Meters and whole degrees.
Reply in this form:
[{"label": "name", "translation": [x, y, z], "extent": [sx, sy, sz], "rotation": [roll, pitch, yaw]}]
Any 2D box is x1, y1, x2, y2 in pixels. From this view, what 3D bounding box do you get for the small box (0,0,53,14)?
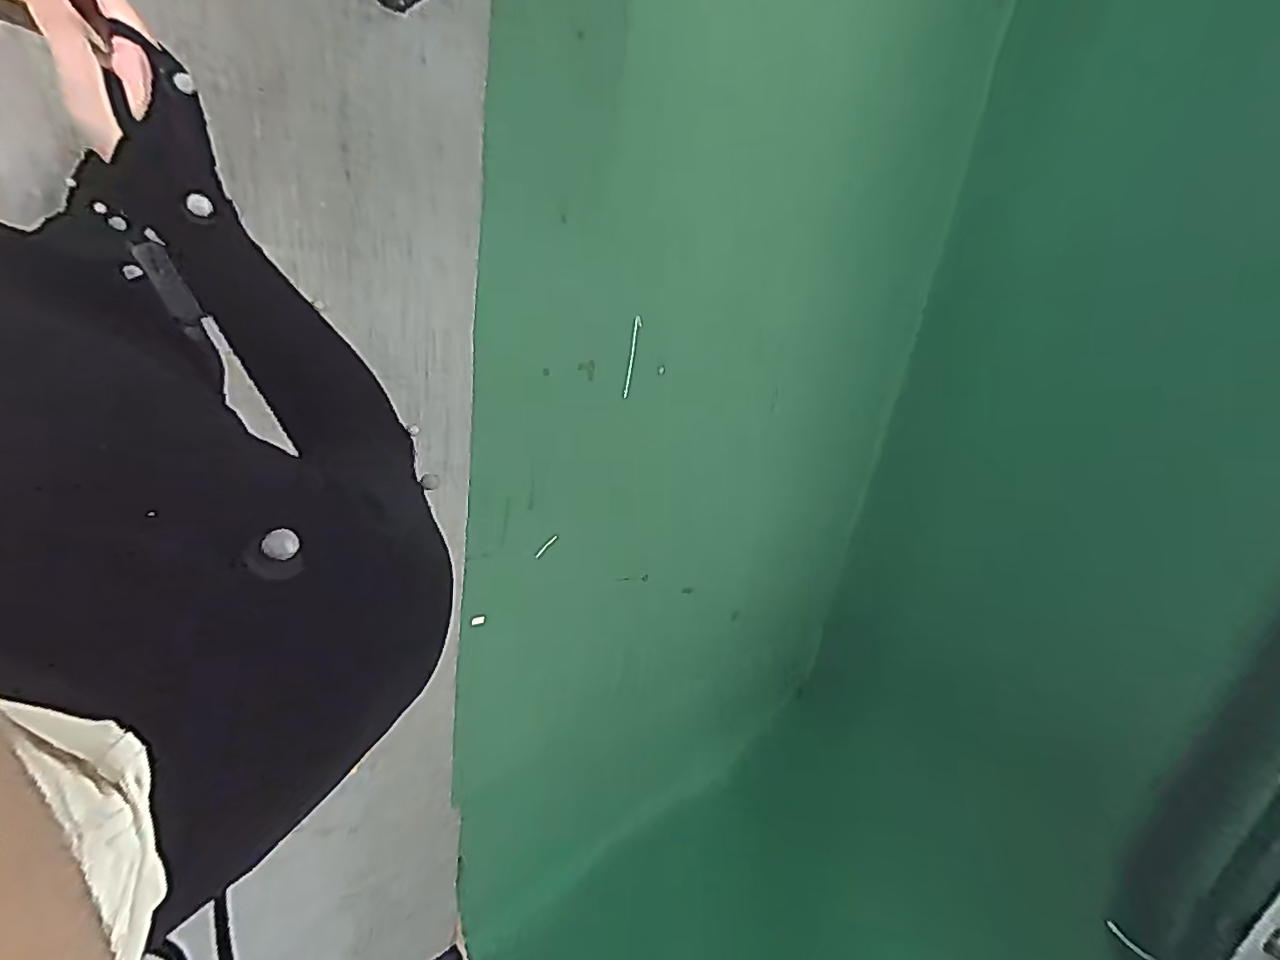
[{"label": "small box", "translation": [-0.476, -0.415, 0.315], "extent": [0.179, 0.176, 0.168], "rotation": [-4, 117, -45]}]
